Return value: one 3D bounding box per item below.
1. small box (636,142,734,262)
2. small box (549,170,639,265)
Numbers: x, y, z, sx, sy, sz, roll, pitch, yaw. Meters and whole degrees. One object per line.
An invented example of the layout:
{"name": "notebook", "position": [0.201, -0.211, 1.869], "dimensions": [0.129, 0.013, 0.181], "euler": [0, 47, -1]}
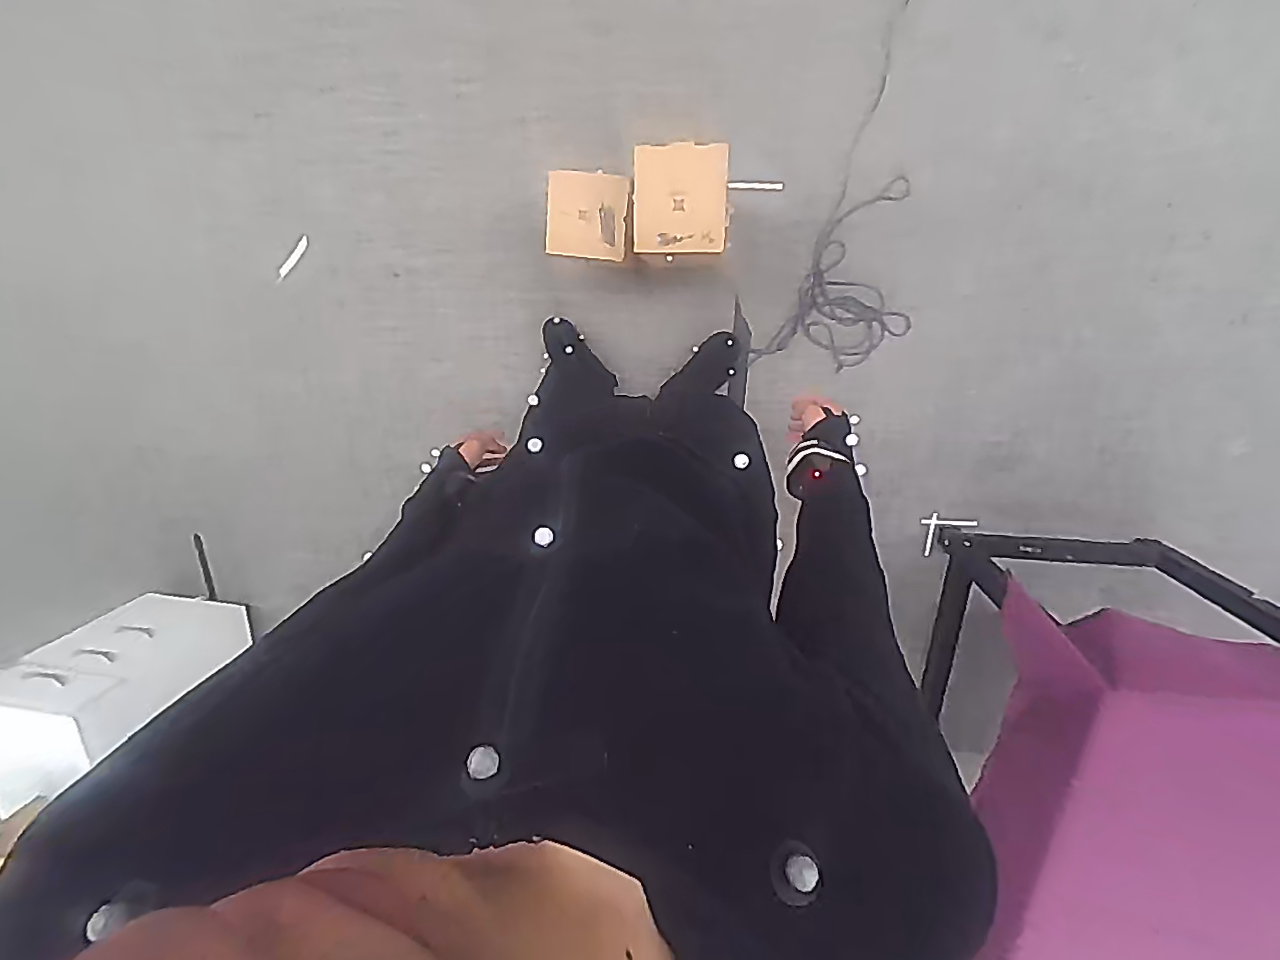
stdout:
{"name": "small box", "position": [0.087, -0.515, 1.021], "dimensions": [0.168, 0.176, 0.179], "euler": [3, 108, 8]}
{"name": "small box", "position": [-0.091, -0.576, 1.204], "dimensions": [0.179, 0.176, 0.168], "euler": [9, 109, 7]}
